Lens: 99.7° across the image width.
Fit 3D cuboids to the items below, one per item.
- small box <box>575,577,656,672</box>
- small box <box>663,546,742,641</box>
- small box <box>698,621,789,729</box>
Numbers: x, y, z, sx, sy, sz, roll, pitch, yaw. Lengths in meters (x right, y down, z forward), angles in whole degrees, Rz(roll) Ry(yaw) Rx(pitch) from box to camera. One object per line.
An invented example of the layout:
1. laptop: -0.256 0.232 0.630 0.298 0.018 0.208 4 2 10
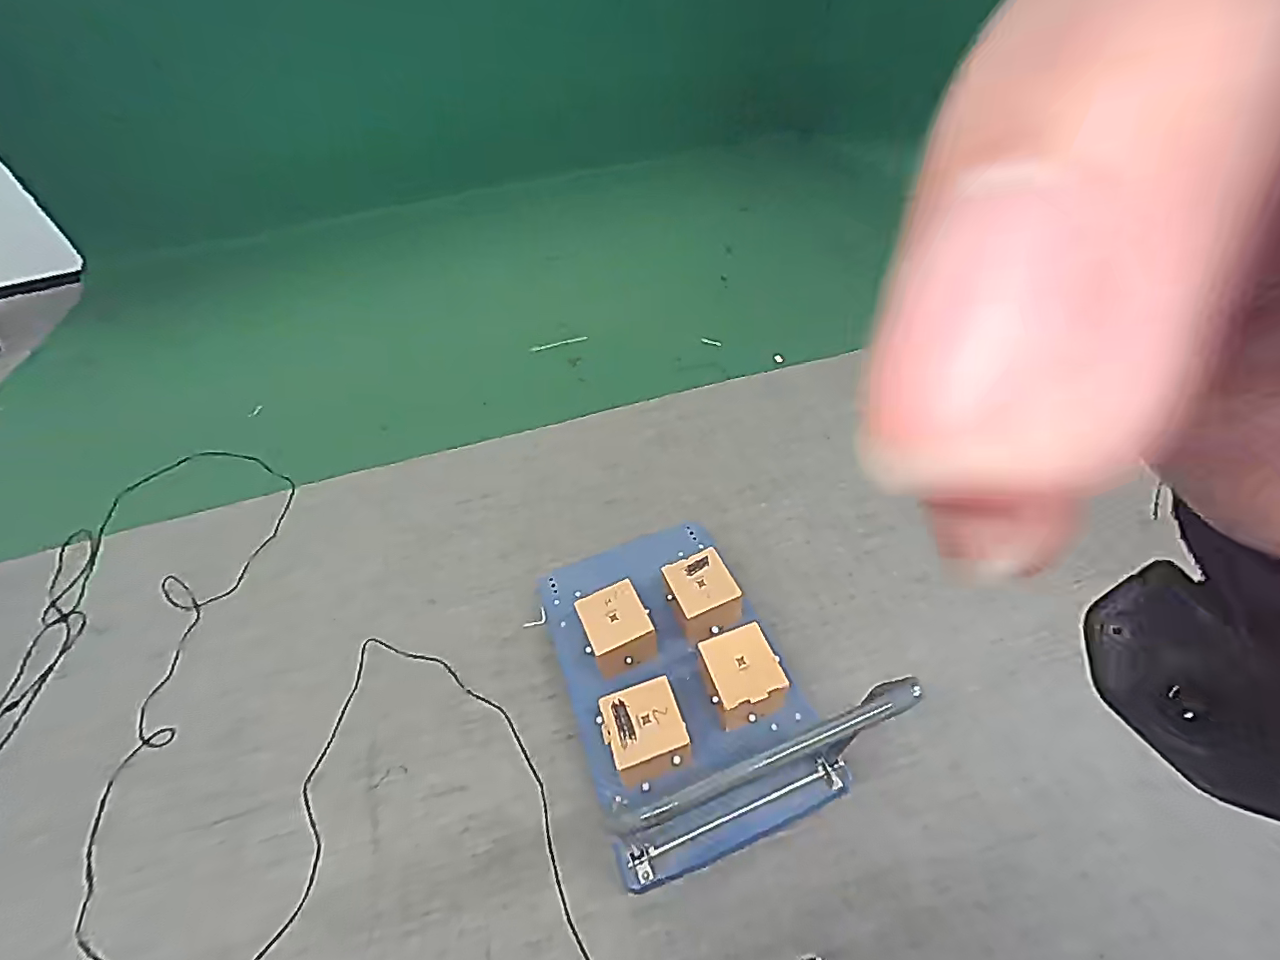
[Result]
1. small box: -0.064 0.406 1.489 0.168 0.176 0.179 -21 49 -13
2. small box: 0.174 0.323 1.532 0.168 0.176 0.179 -21 50 -10
3. small box: 0.255 0.496 1.372 0.168 0.176 0.179 -18 48 -8
